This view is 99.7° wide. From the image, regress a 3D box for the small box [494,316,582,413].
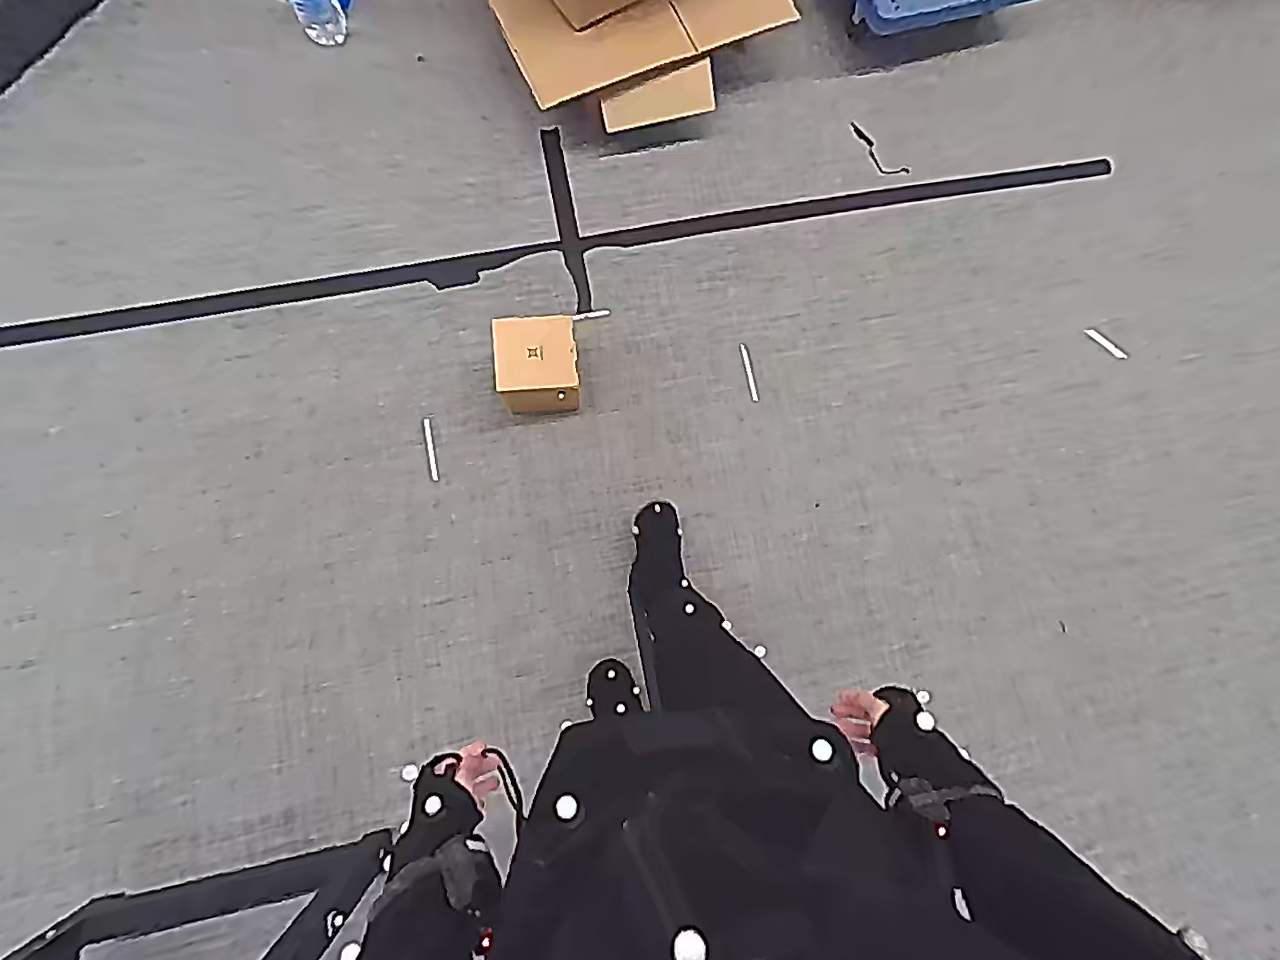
[{"bbox_3d":[-0.228,-0.257,1.233,0.179,0.176,0.168,-5,81,-7],"label":"small box"}]
